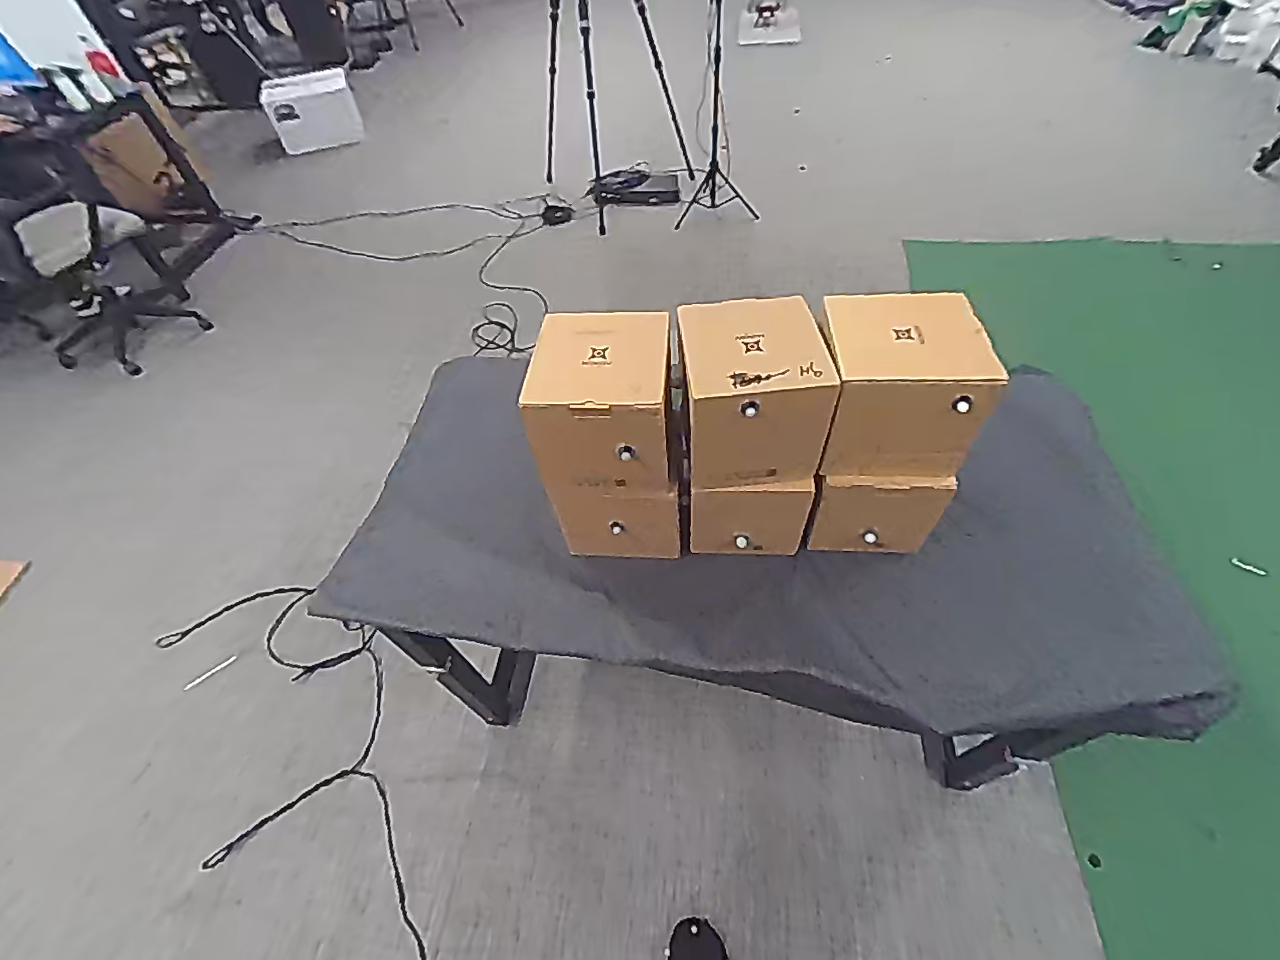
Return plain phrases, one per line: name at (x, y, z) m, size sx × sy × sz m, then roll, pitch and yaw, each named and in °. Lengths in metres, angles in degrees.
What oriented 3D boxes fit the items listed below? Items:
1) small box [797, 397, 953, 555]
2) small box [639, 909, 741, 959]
small box at (0.338, -0.007, 0.820) m, size 0.168 × 0.176 × 0.179 m, roll 0°, pitch 52°, yaw 7°
small box at (0.094, 0.974, 1.001) m, size 0.179 × 0.176 × 0.168 m, roll -20°, pitch 21°, yaw -39°
